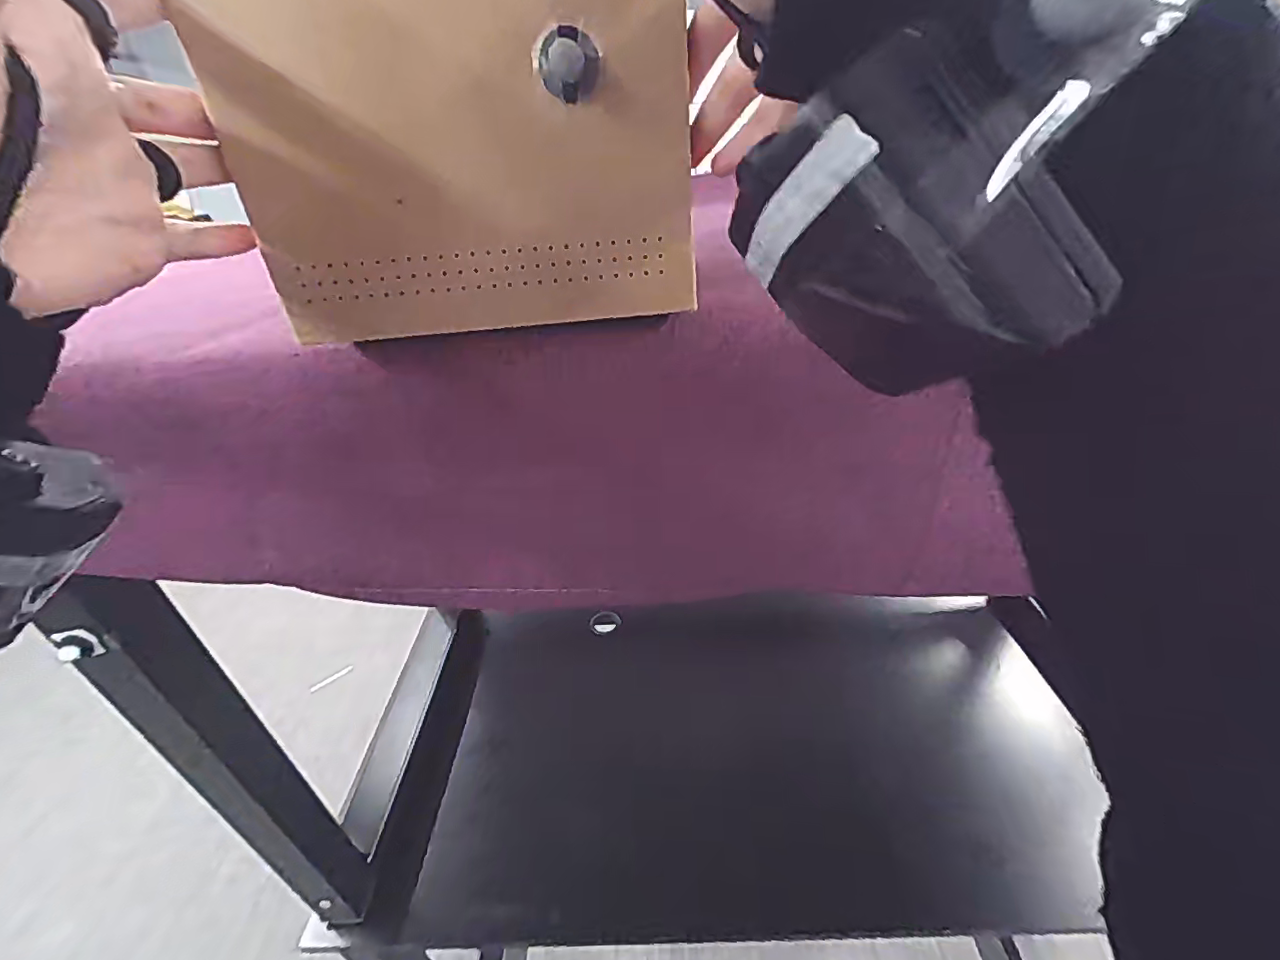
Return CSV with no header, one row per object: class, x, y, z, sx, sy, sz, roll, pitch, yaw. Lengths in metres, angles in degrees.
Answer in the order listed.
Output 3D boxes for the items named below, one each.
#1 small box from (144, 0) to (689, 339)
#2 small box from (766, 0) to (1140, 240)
small box,-0.071,-0.173,0.251,0.179,0.176,0.168,-6,29,-1
small box,0.190,-0.266,0.368,0.168,0.176,0.179,-6,32,-2
